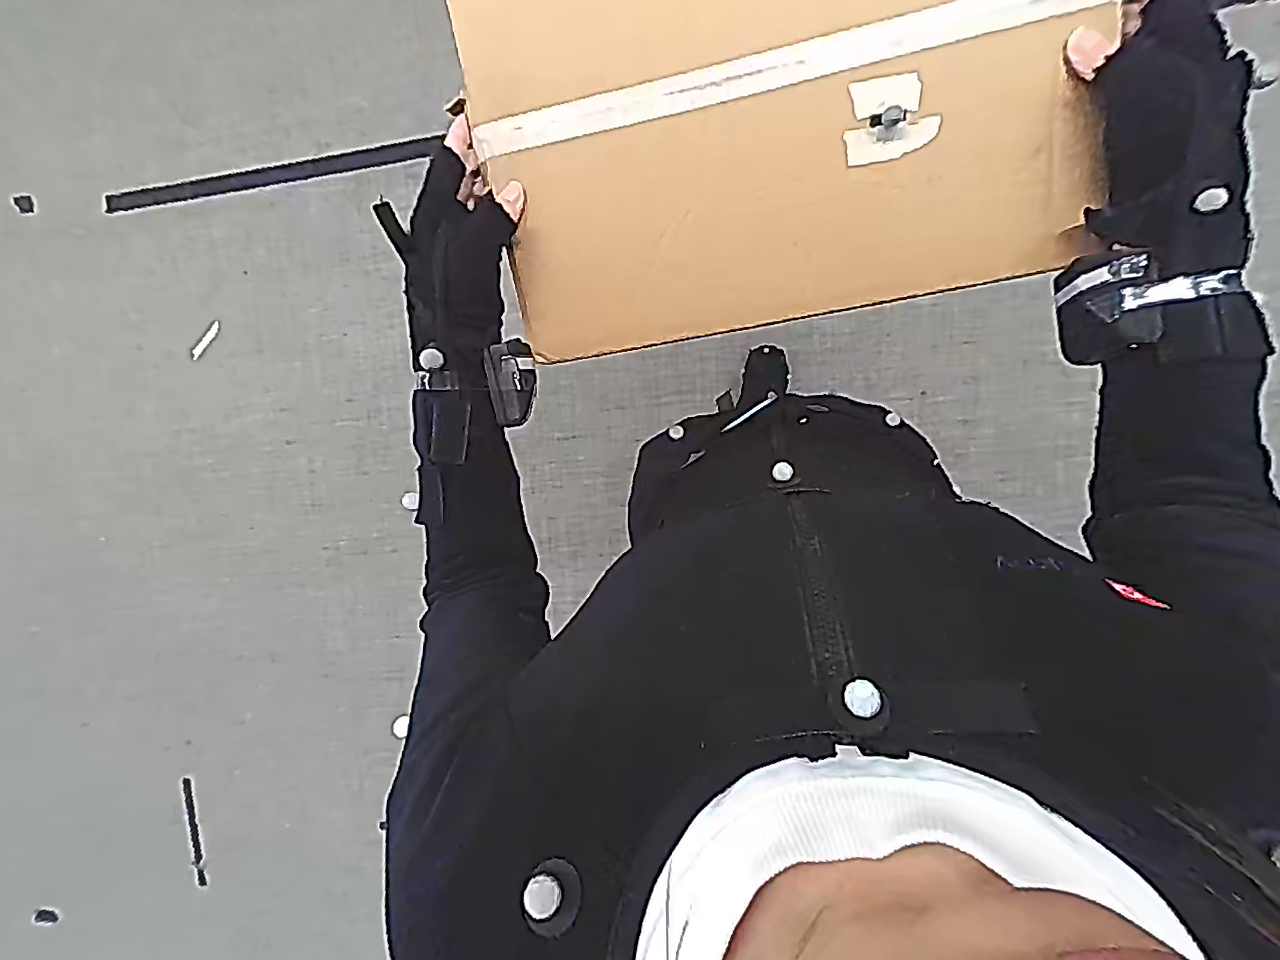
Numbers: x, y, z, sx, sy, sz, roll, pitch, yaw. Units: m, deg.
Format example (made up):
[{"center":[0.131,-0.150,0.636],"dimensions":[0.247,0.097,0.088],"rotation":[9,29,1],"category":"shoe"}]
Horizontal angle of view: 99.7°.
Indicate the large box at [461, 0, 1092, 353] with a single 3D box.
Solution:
[{"center":[0.100,-0.319,0.507],"dimensions":[0.408,0.320,0.320],"rotation":[-9,106,8],"category":"large box"}]
